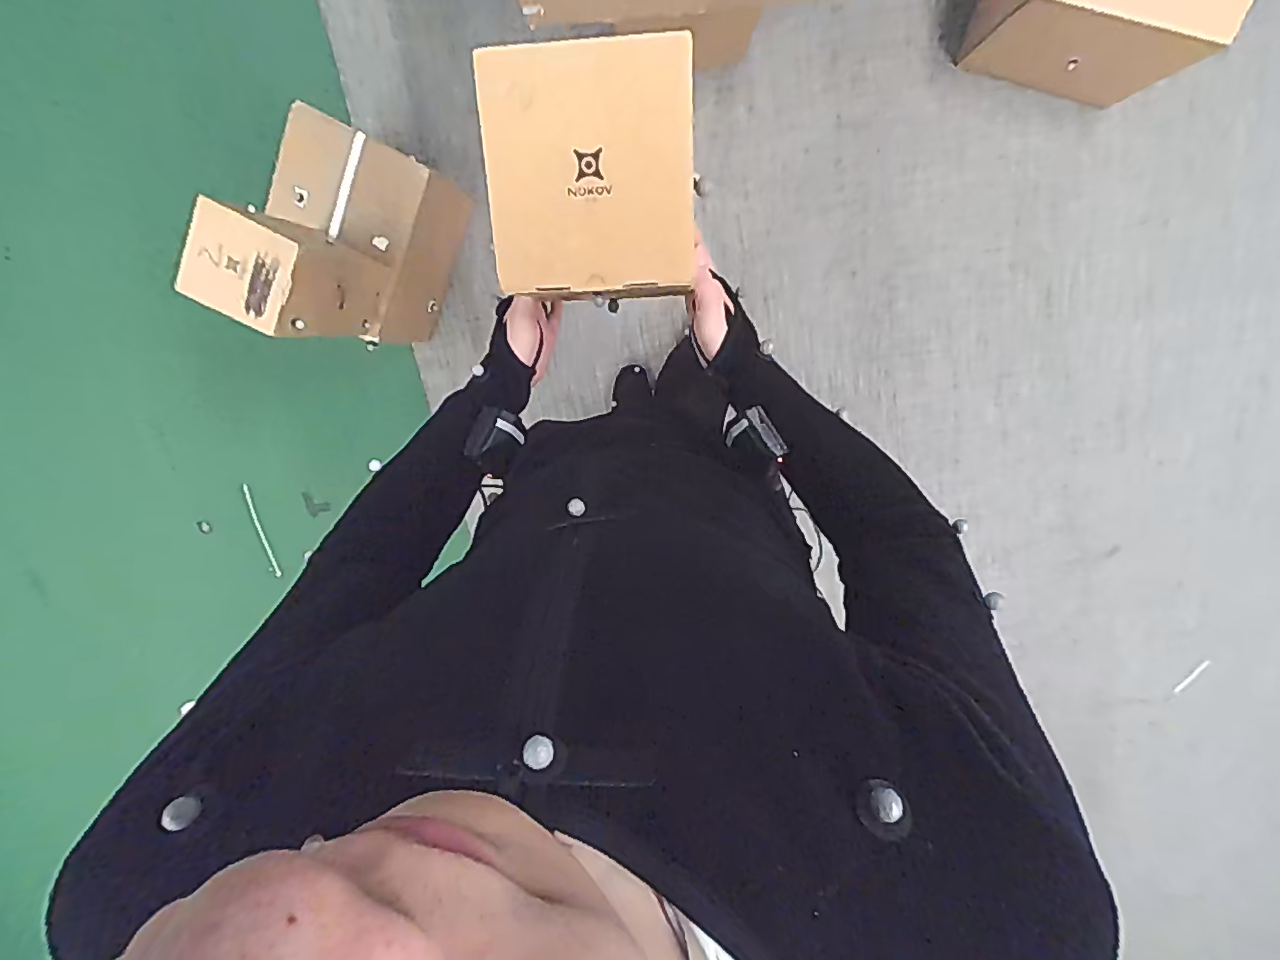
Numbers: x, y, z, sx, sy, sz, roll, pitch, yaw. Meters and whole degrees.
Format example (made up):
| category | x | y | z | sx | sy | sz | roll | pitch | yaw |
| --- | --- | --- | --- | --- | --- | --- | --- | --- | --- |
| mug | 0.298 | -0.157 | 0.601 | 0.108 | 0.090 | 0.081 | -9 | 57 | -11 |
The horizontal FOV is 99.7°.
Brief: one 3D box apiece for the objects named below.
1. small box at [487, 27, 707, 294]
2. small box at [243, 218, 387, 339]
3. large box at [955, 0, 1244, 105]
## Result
| category | x | y | z | sx | sy | sz | roll | pitch | yaw |
| --- | --- | --- | --- | --- | --- | --- | --- | --- | --- |
| small box | -0.027 | -0.269 | 0.498 | 0.168 | 0.176 | 0.179 | -2 | 108 | 3 |
| small box | -0.665 | -0.411 | 1.128 | 0.179 | 0.176 | 0.168 | 28 | 103 | -6 |
| large box | 0.997 | -1.073 | 1.164 | 0.408 | 0.320 | 0.320 | 13 | 105 | -1 |
